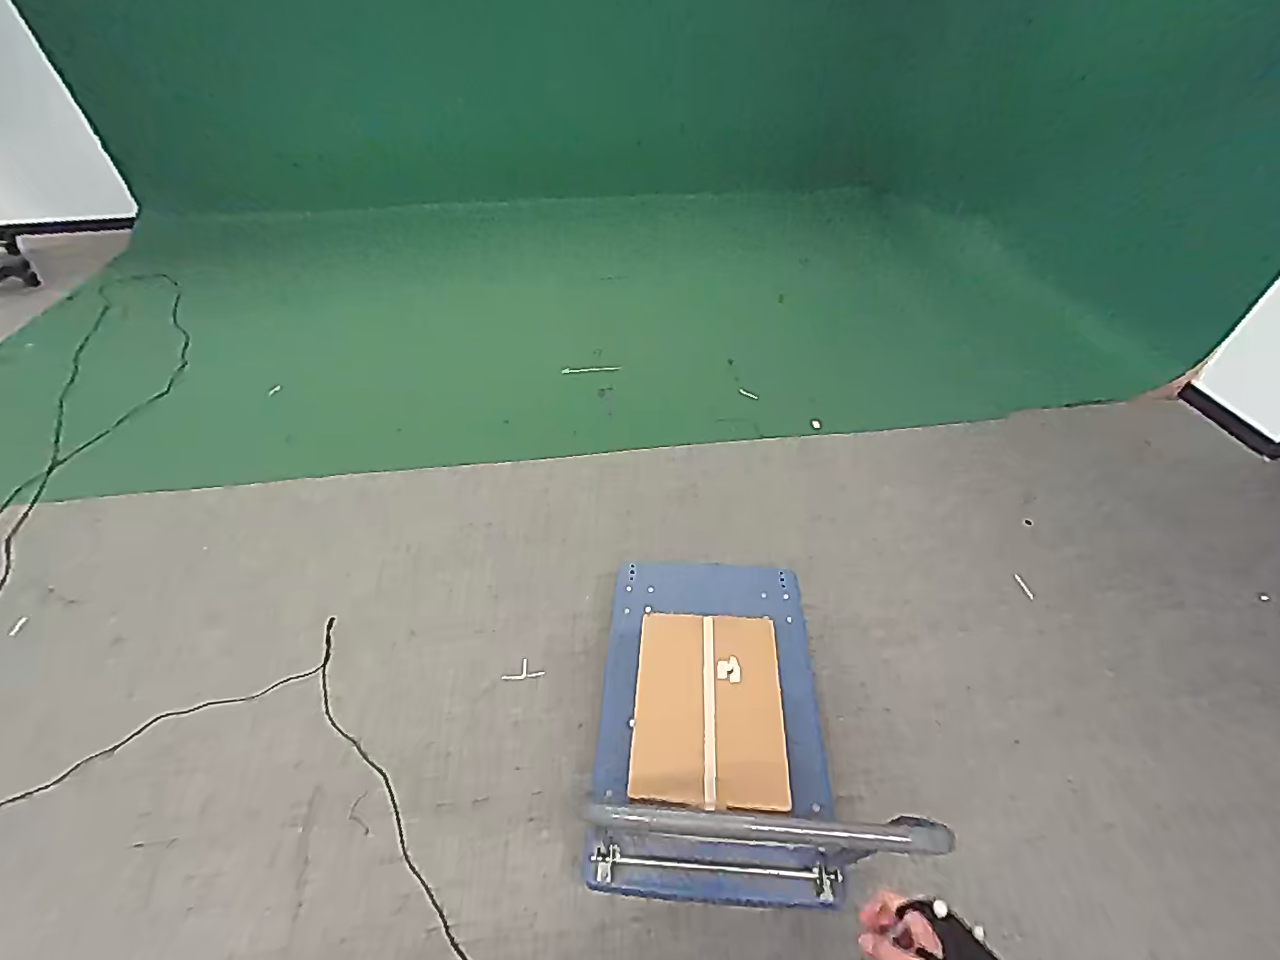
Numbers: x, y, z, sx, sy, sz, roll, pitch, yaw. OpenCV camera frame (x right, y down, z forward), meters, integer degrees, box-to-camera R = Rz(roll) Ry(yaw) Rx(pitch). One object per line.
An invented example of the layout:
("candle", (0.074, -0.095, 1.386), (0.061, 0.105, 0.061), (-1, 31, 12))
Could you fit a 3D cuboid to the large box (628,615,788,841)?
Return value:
("large box", (0.147, 0.581, 1.279), (0.320, 0.320, 0.408), (3, 44, 3))
